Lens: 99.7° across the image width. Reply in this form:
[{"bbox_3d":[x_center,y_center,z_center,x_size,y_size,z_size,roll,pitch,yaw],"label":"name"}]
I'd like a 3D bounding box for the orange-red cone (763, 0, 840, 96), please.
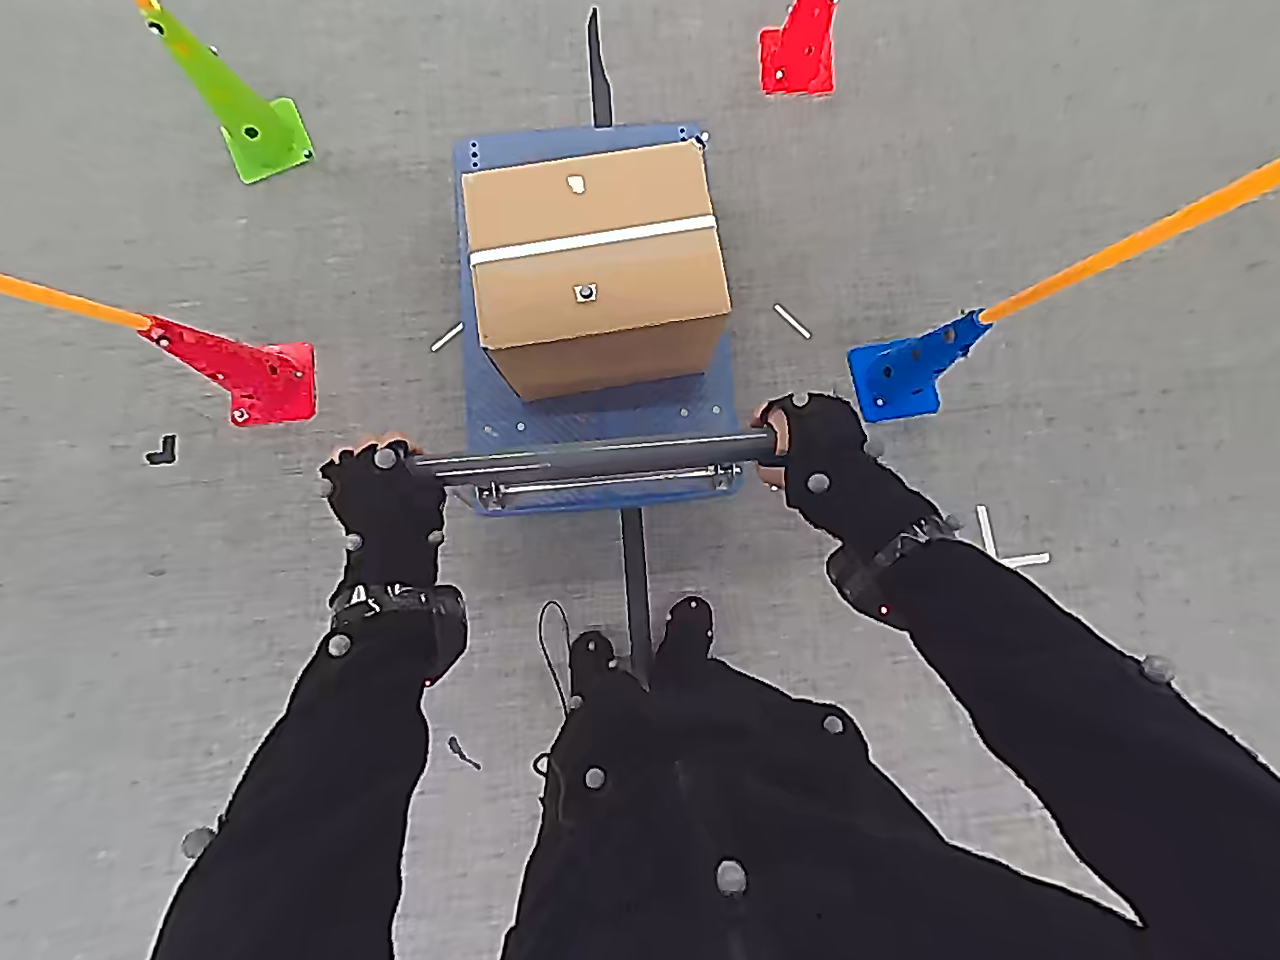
[{"bbox_3d":[0.440,-1.165,1.307,0.199,0.360,0.198,2,83,-1],"label":"orange-red cone"}]

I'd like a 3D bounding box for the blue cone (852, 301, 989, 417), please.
[{"bbox_3d":[0.645,-0.283,1.202,0.193,0.380,0.192,-9,81,-2],"label":"blue cone"}]
